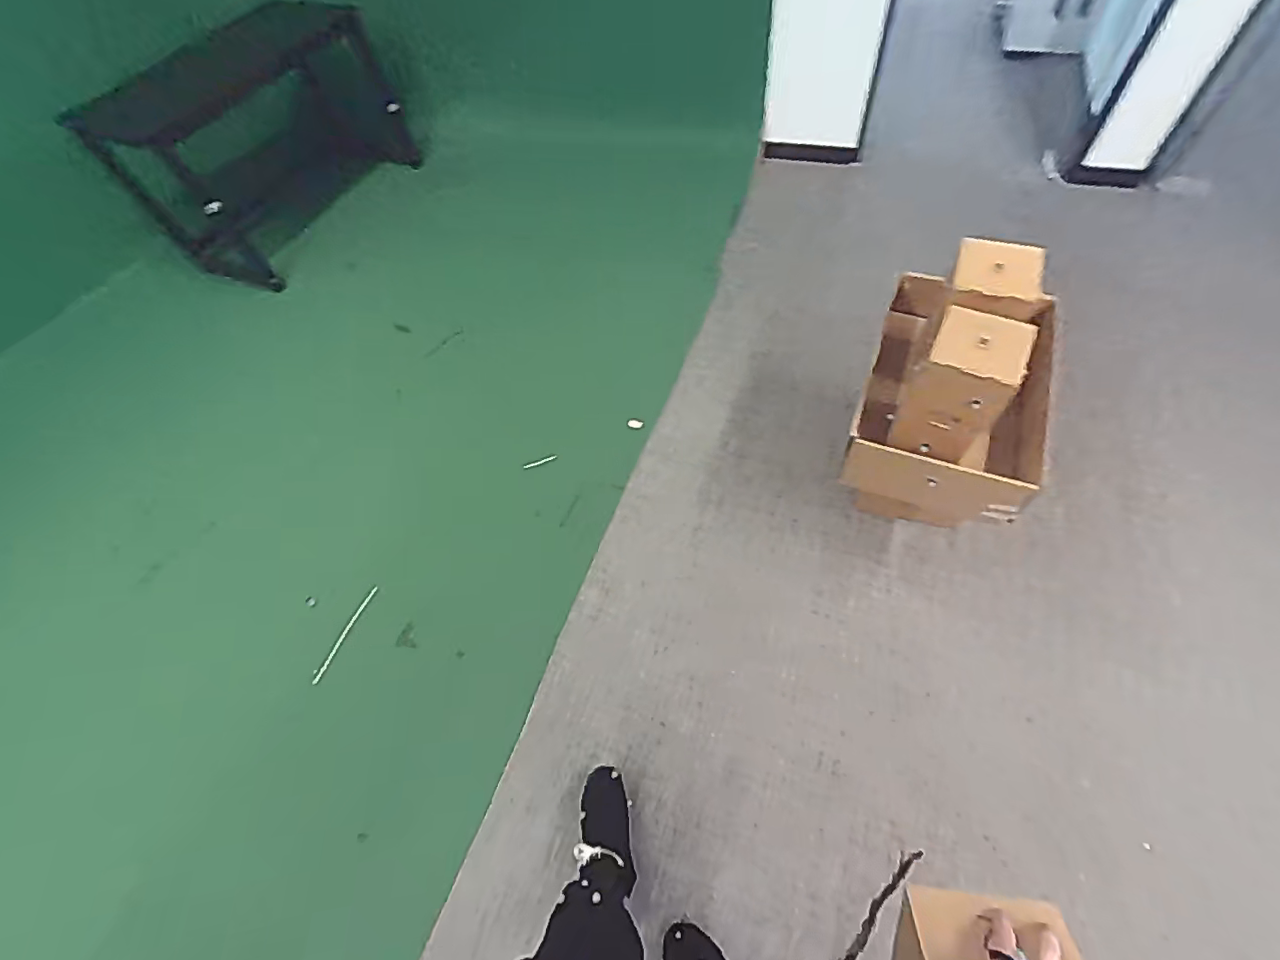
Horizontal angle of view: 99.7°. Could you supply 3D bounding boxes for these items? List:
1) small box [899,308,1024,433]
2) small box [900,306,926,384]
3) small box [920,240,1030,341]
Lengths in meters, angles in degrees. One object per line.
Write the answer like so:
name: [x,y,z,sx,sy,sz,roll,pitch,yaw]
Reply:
small box: [0.678,-0.230,1.159,0.168,0.176,0.179,24,63,18]
small box: [0.798,-0.345,1.410,0.168,0.176,0.179,17,63,17]
small box: [0.780,-0.426,1.270,0.168,0.176,0.179,17,64,15]
